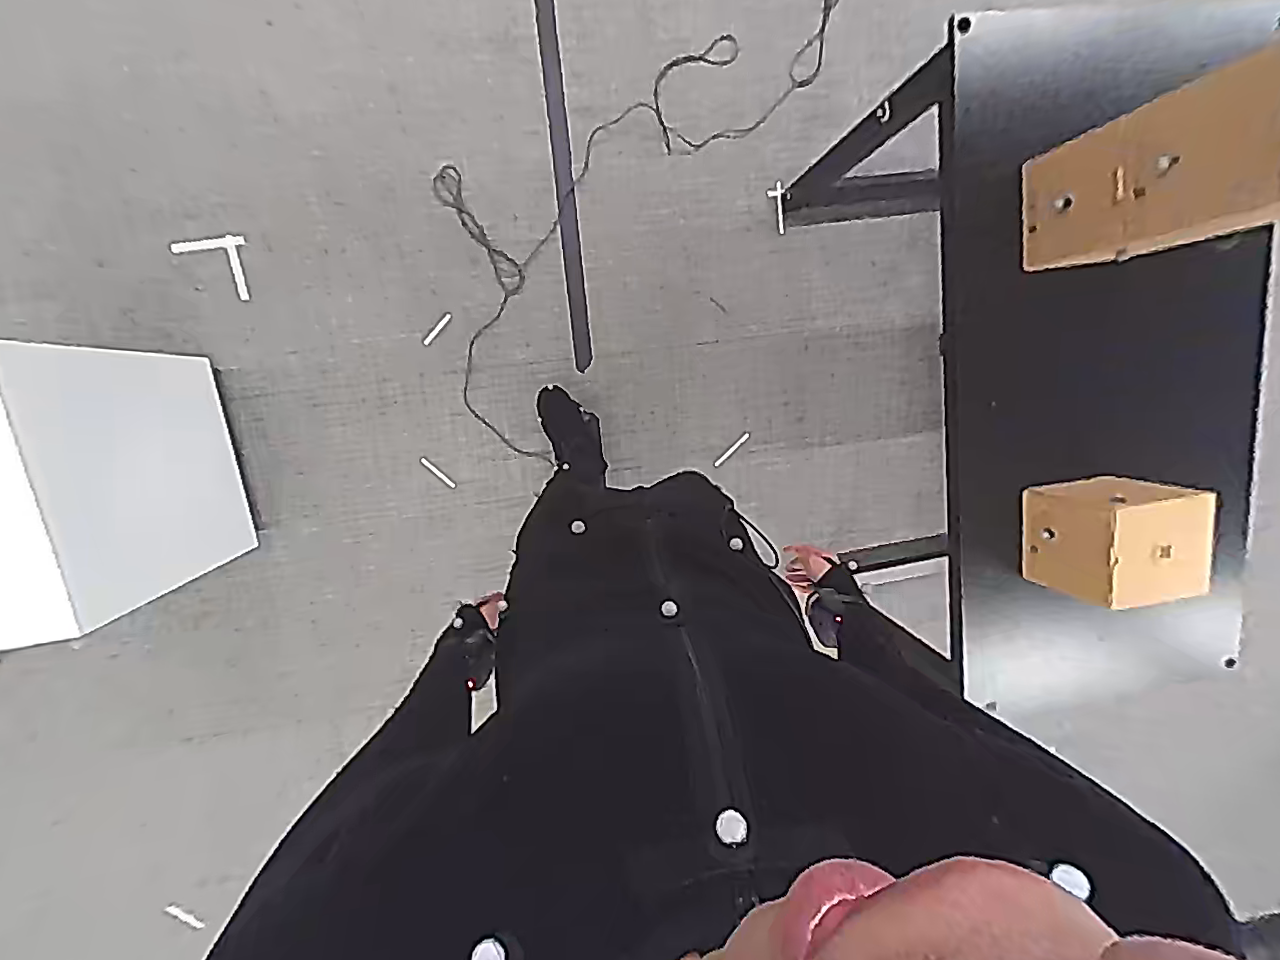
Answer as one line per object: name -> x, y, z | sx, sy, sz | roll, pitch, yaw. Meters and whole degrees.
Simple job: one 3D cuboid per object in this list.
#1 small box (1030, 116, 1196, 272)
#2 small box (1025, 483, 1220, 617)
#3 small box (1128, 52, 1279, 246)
small box -> 0.721, -0.418, 0.805 | 0.179, 0.176, 0.168 | -10, 101, -5
small box -> 0.790, 0.106, 0.900 | 0.179, 0.176, 0.168 | -8, 100, -6
small box -> 0.744, -0.392, 0.644 | 0.179, 0.176, 0.168 | -9, 100, -6
